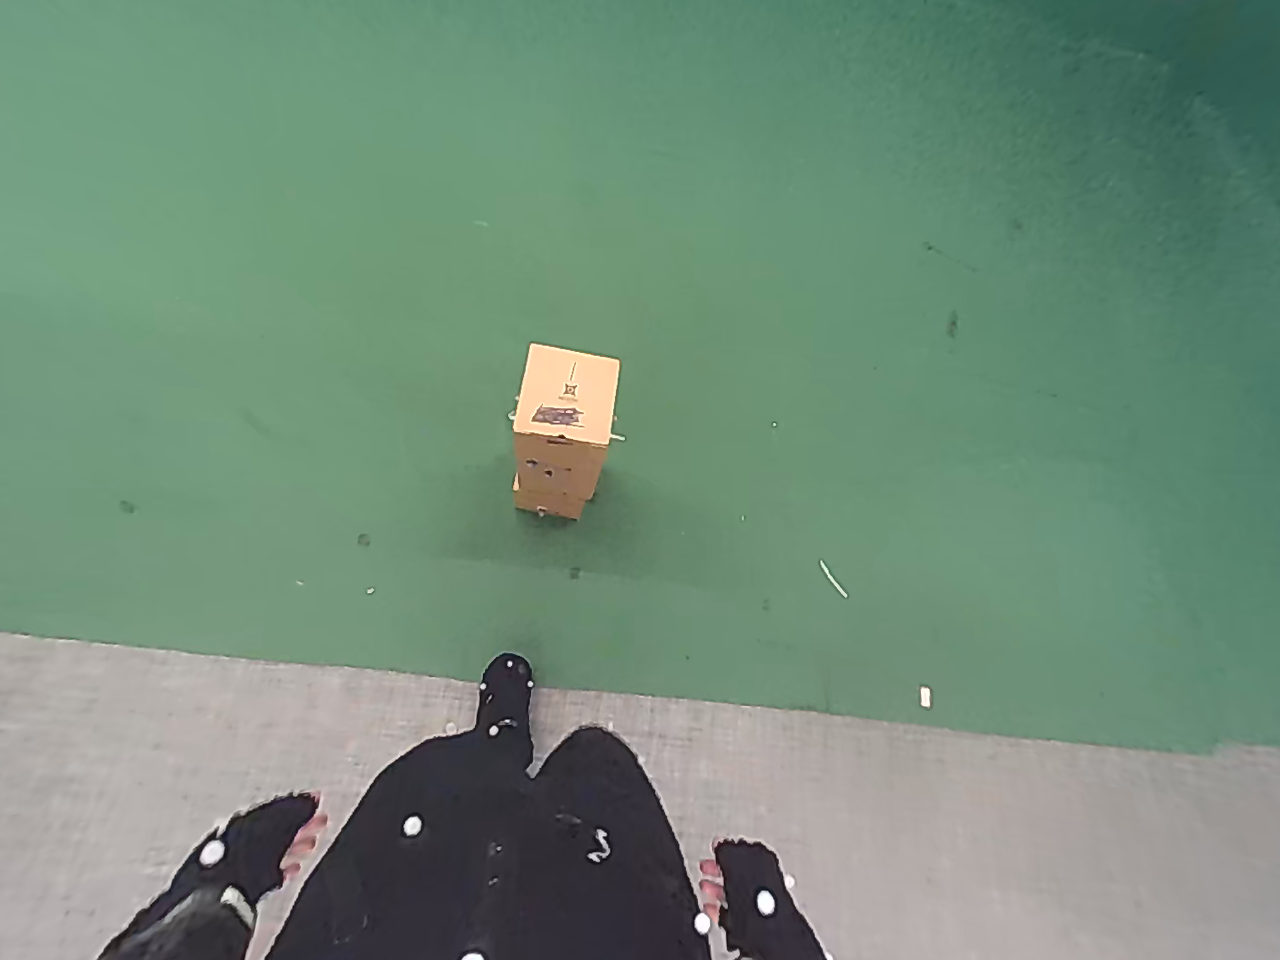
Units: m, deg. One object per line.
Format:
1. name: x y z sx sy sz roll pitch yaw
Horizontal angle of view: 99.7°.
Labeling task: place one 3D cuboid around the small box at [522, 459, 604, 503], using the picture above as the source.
1. small box: -0.161 -0.067 1.182 0.168 0.176 0.179 9 69 -7

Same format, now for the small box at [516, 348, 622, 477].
1. small box: -0.134 -0.118 1.027 0.168 0.176 0.179 9 69 -8

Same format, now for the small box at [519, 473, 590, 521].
1. small box: -0.199 -0.011 1.331 0.168 0.176 0.179 9 71 -7
